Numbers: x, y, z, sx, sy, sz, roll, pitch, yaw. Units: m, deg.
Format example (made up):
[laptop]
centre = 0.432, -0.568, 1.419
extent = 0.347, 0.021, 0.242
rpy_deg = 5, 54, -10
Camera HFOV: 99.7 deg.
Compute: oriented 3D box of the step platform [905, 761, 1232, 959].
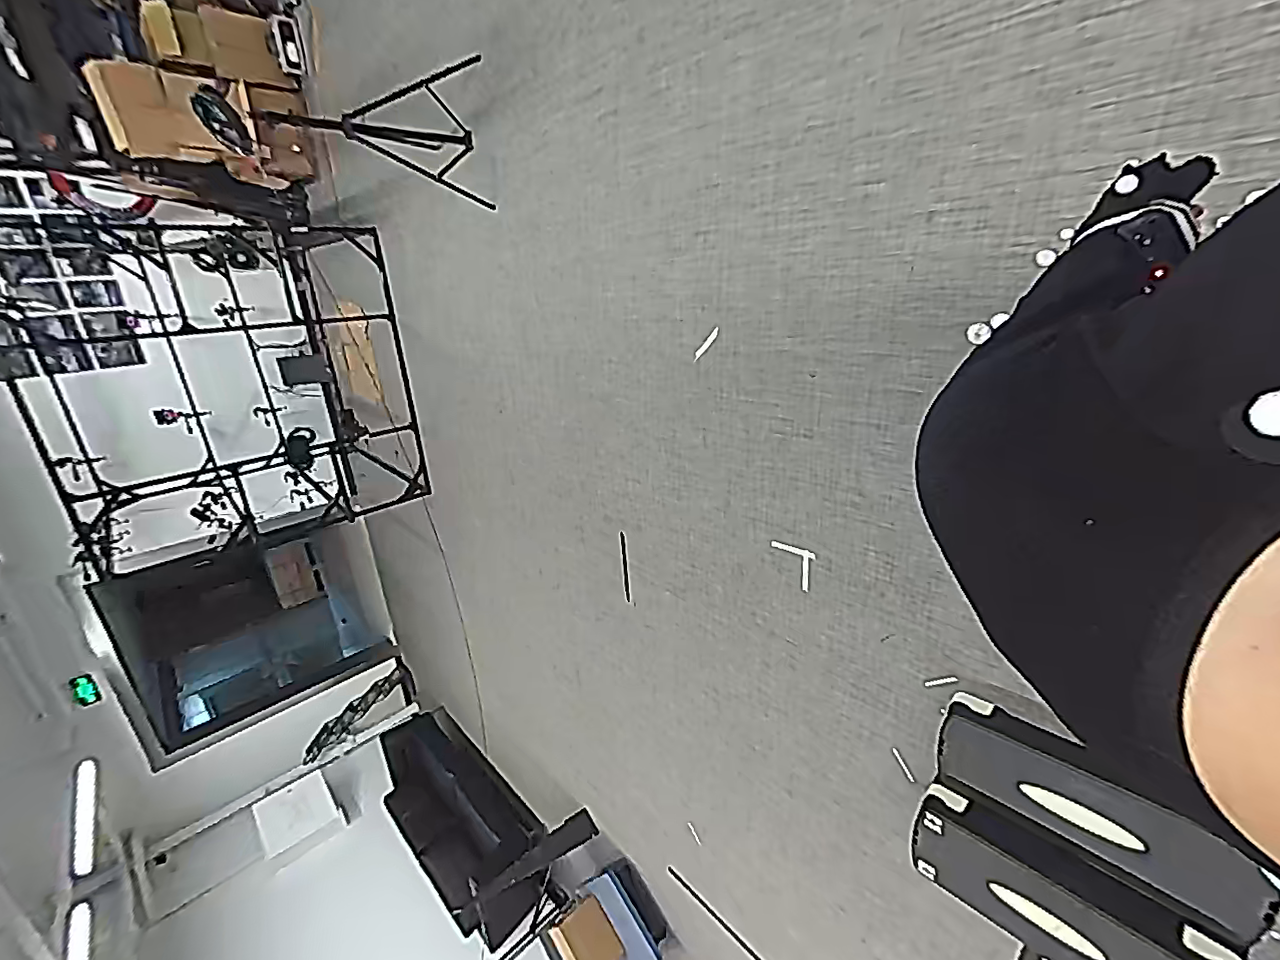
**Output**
[step platform]
centre = 1.101, 1.100, 1.475
extent = 0.684, 0.204, 0.286
rpy_deg = 17, 119, 46
